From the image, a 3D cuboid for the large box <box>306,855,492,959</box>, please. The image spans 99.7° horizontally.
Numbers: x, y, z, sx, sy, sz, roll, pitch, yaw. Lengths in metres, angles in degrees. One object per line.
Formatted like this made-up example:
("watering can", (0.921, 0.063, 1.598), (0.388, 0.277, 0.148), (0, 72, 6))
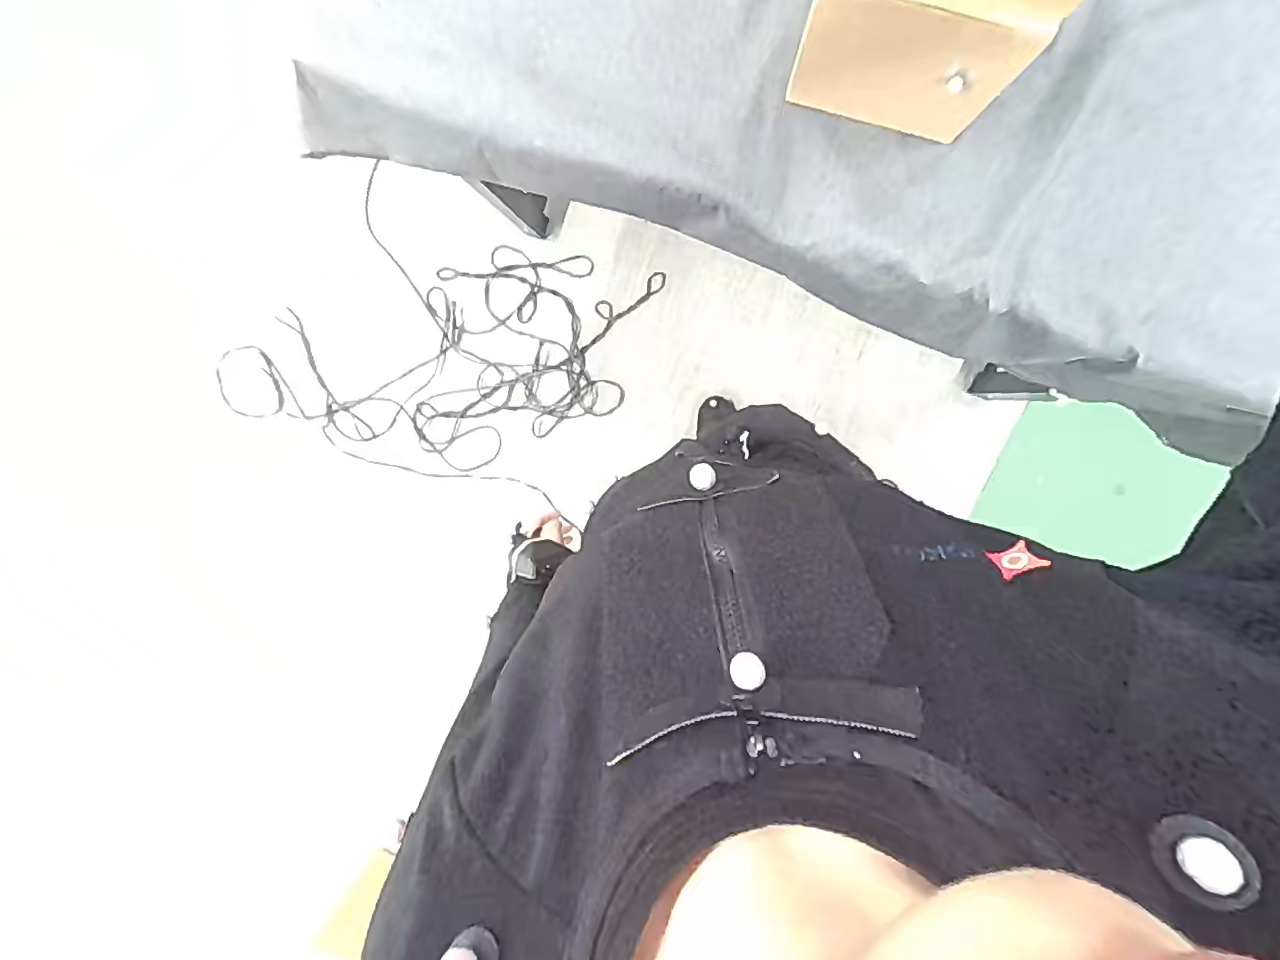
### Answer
("large box", (-0.703, 1.389, 1.538), (0.408, 0.320, 0.320), (27, 101, 3))
